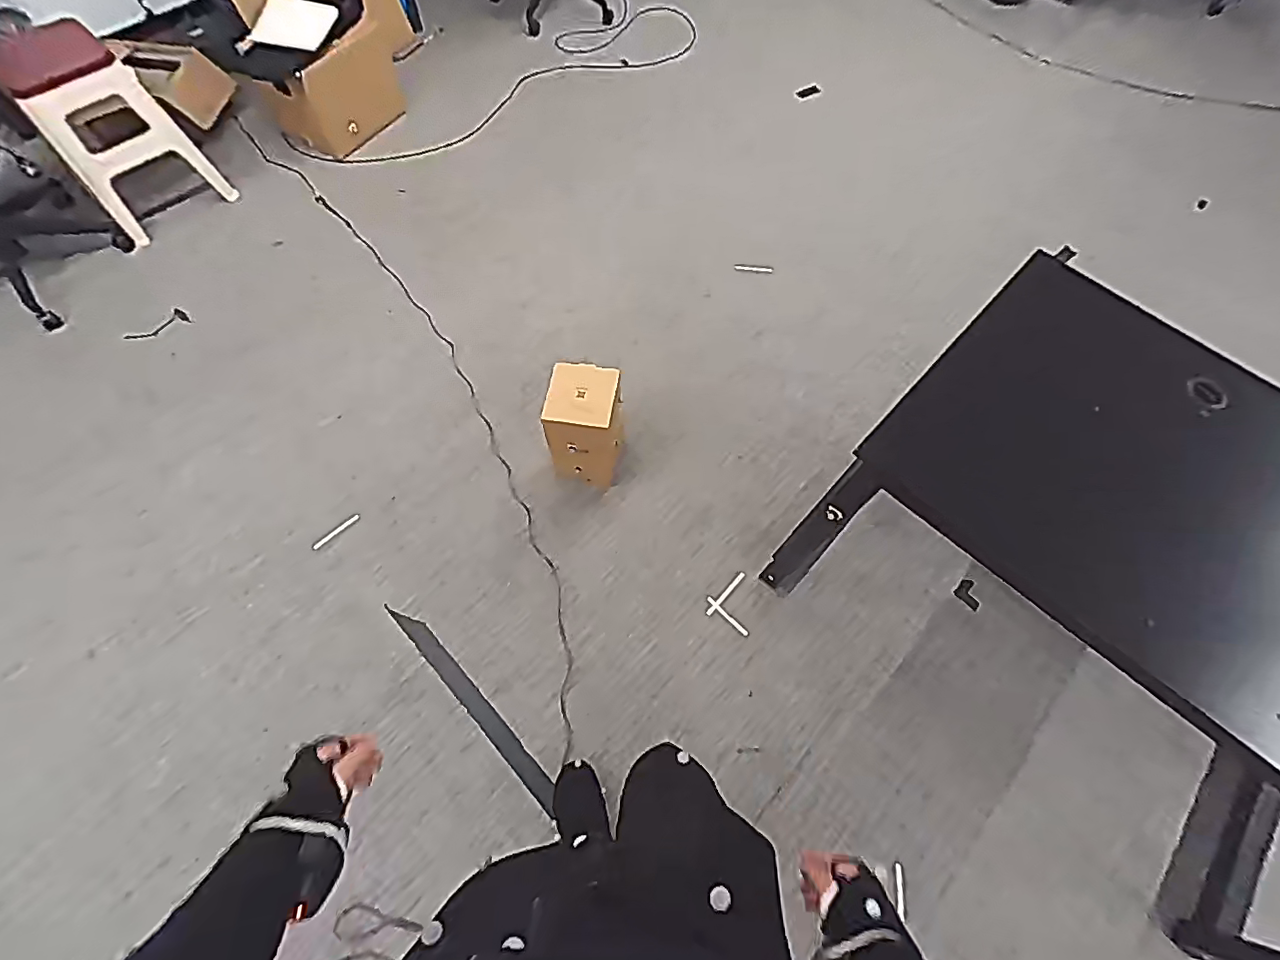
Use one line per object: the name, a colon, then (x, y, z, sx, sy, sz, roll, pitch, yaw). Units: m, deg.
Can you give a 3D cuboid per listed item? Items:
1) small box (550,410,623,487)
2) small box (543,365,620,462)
small box: (-0.147, -0.101, 1.545, 0.168, 0.176, 0.179, 13, 64, 2)
small box: (-0.144, -0.169, 1.397, 0.168, 0.176, 0.179, 7, 66, 3)
